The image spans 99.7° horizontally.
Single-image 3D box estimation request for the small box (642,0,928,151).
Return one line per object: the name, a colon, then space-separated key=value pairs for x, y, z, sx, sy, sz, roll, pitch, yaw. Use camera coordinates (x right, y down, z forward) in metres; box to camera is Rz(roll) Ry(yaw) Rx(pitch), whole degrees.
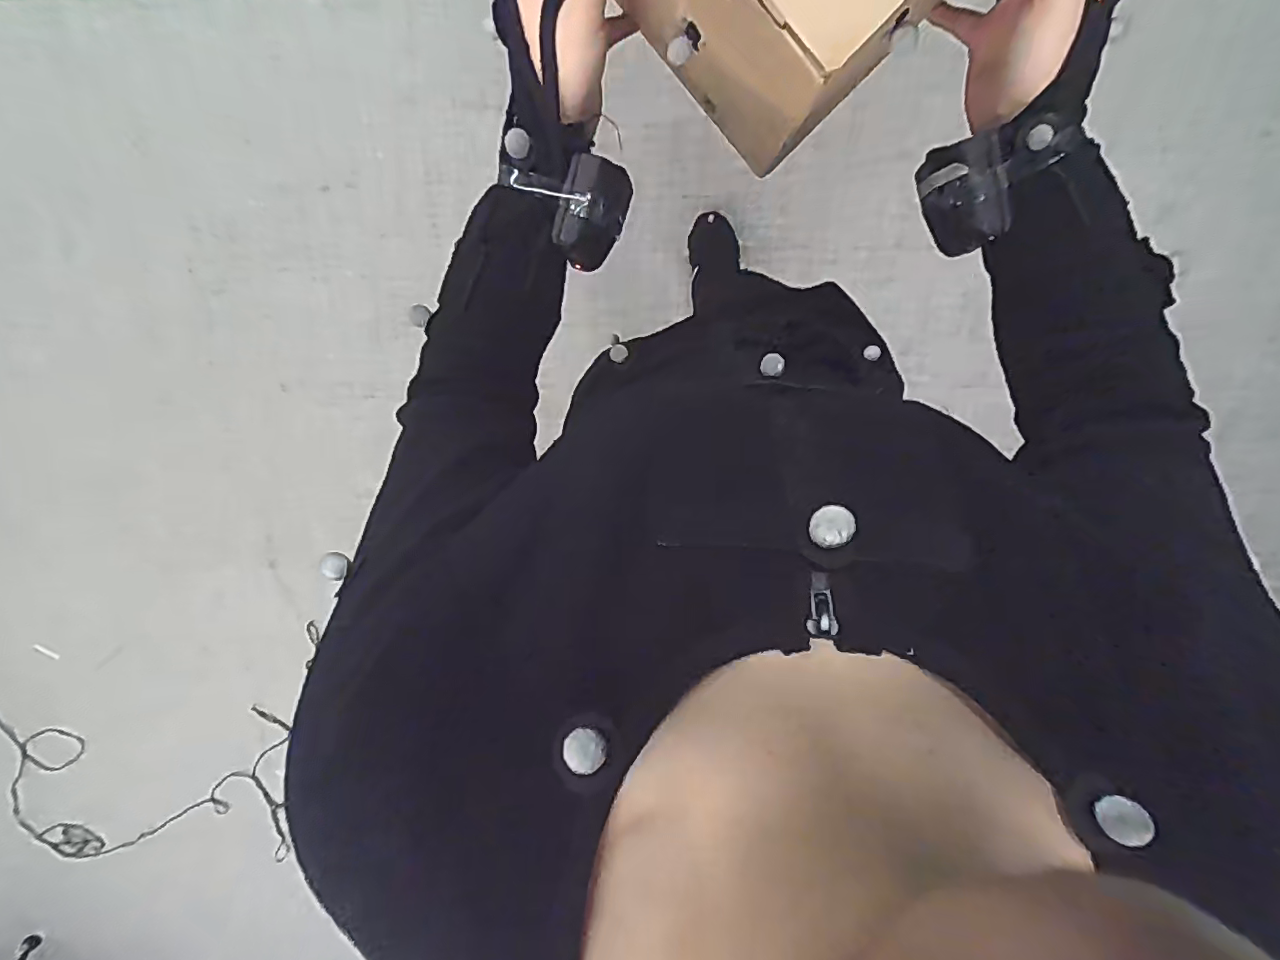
small box: x=0.093 y=-0.323 z=0.291 sx=0.179 sy=0.176 sz=0.168 roll=-42 pitch=100 yaw=14
